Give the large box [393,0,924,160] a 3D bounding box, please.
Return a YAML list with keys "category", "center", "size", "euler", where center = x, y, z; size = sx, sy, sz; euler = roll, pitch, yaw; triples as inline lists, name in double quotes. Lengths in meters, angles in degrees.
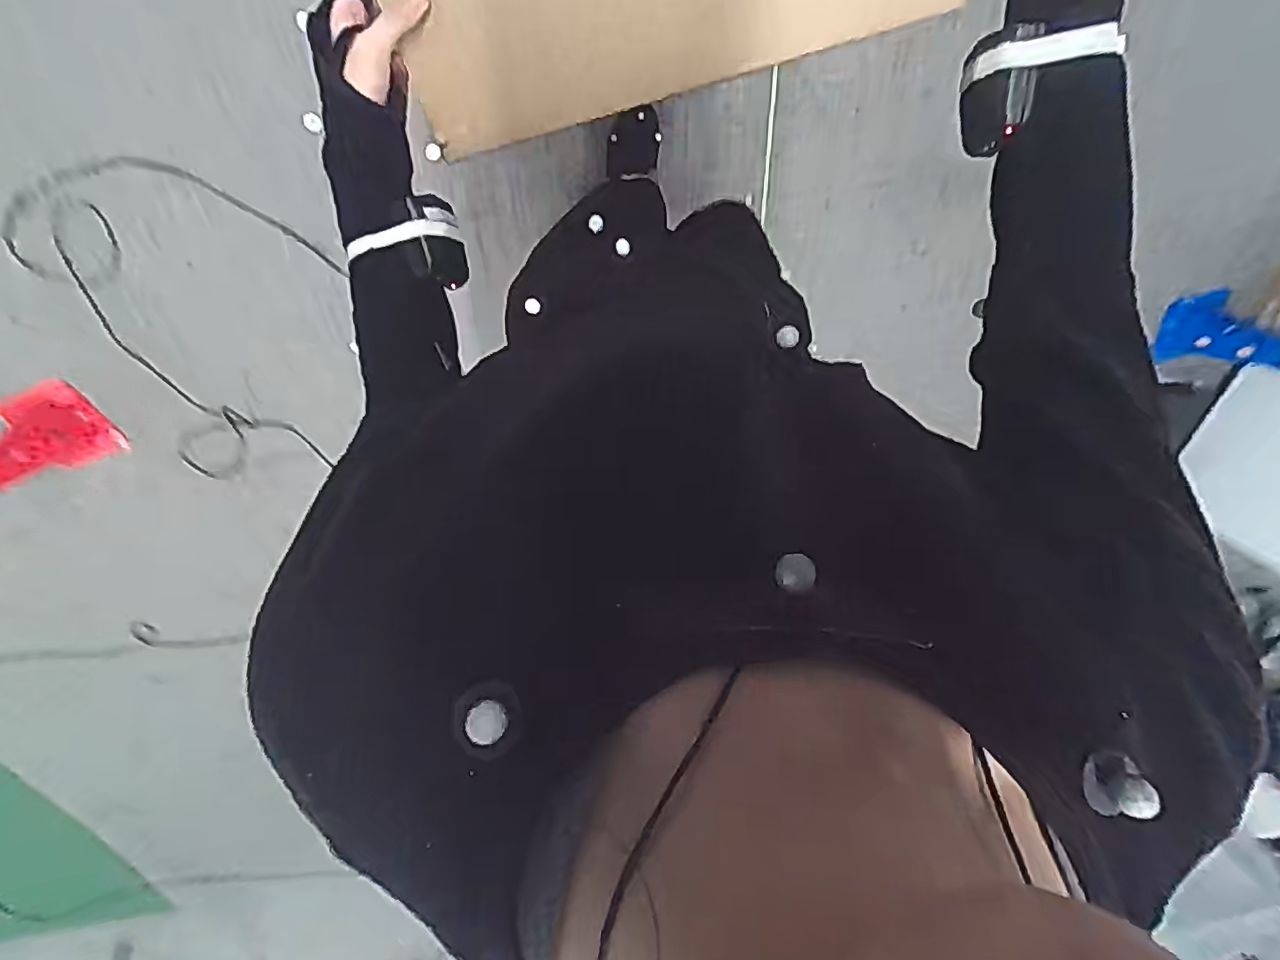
- category: "large box"
  center: [0.000, -0.526, 0.446]
  size: [0.408, 0.320, 0.320]
  euler: [-11, 129, 11]
